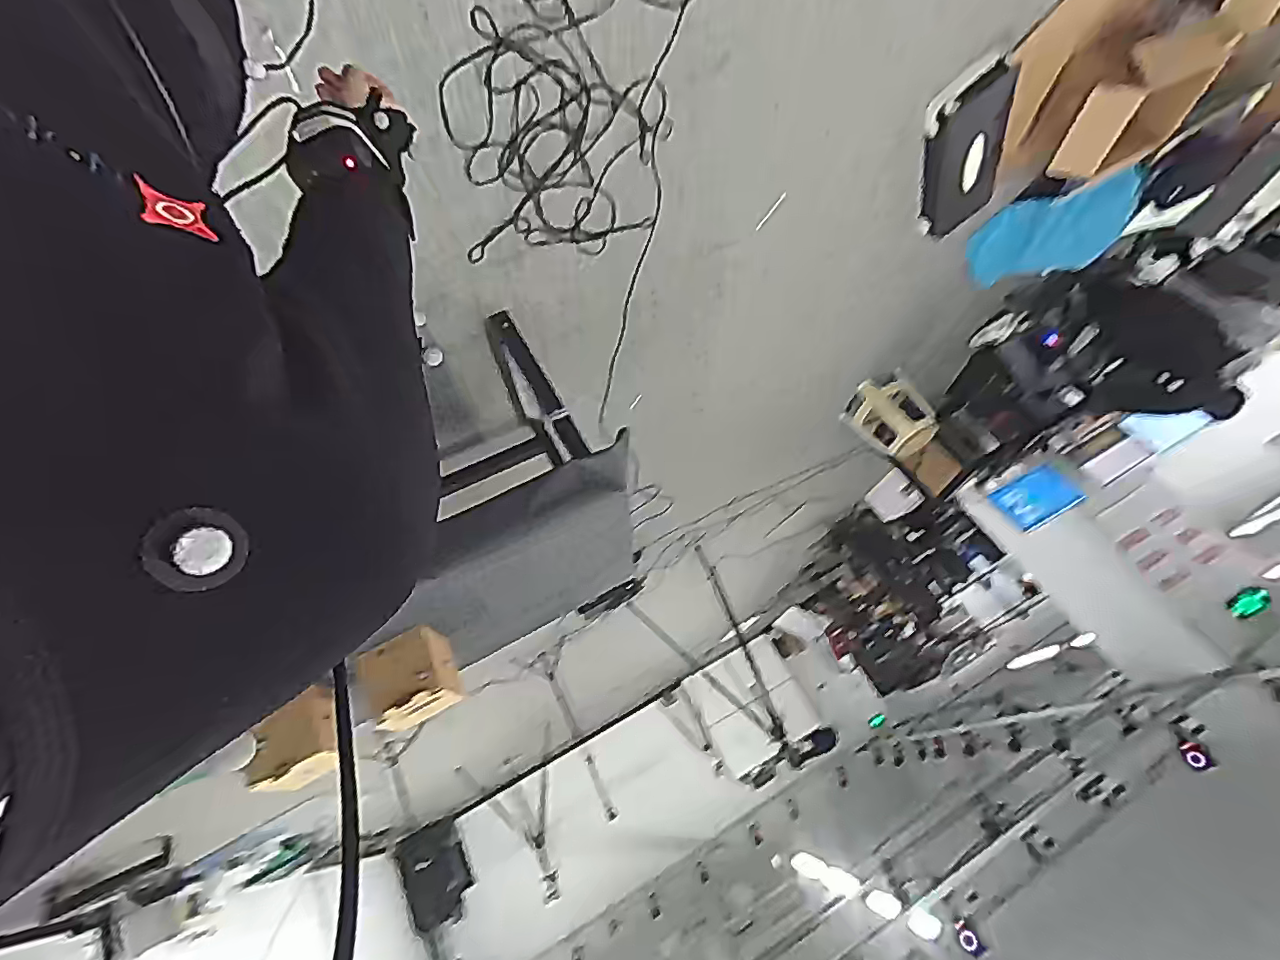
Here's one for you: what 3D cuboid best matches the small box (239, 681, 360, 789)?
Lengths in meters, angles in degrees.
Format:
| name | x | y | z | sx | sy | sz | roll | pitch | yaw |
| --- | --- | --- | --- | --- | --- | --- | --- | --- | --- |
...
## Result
| name | x | y | z | sx | sy | sz | roll | pitch | yaw |
| --- | --- | --- | --- | --- | --- | --- | --- | --- | --- |
| small box | -0.796 | 0.593 | 1.266 | 0.168 | 0.176 | 0.179 | -26 | 155 | -11 |
